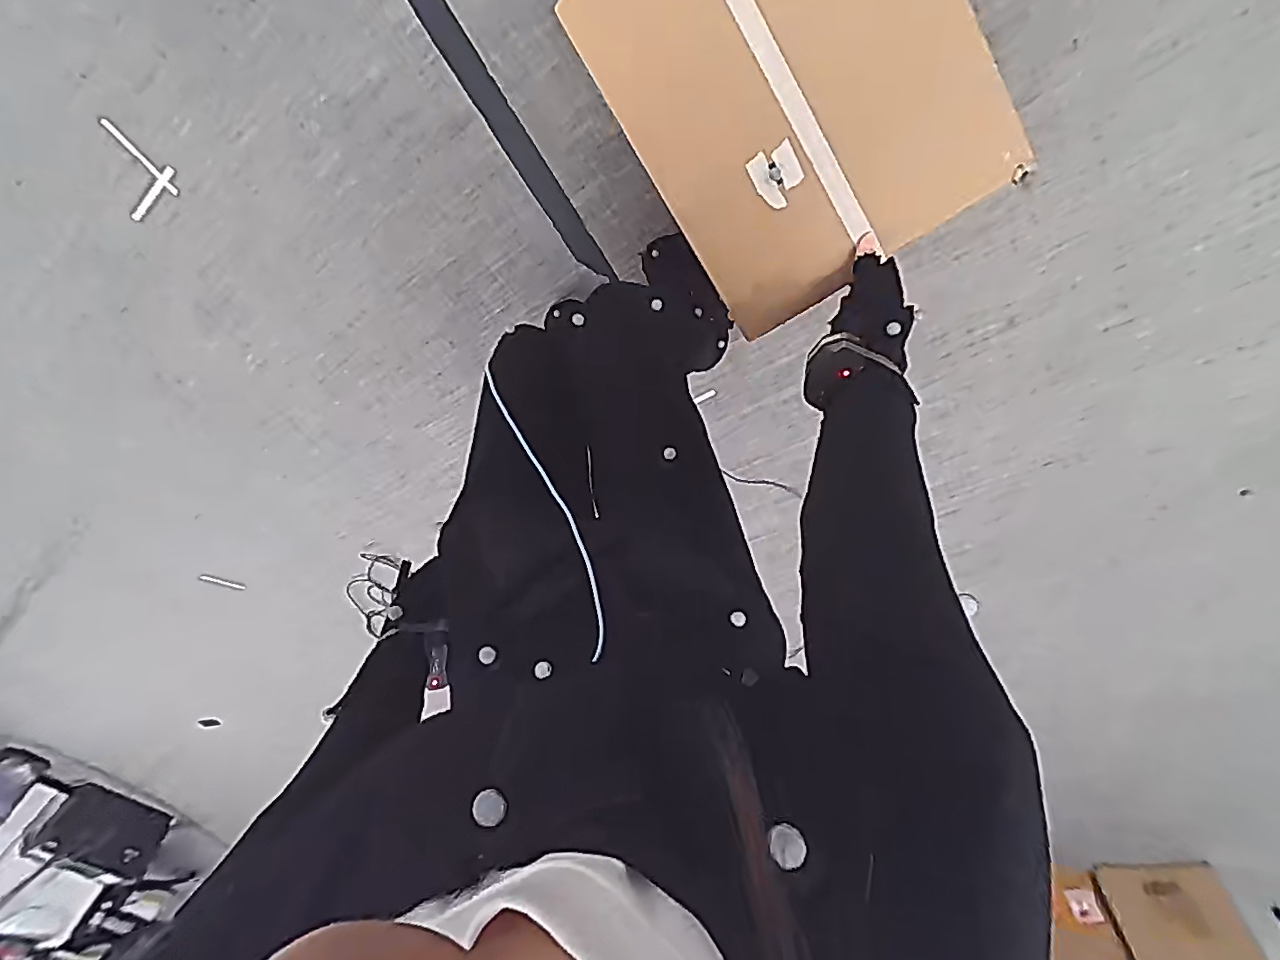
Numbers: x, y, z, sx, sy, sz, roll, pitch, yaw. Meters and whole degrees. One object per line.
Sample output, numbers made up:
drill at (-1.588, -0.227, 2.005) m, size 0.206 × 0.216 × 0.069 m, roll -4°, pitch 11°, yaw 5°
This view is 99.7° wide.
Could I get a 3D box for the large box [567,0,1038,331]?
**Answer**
large box at (0.188, -0.458, 0.671) m, size 0.320 × 0.320 × 0.408 m, roll -29°, pitch 102°, yaw 27°
